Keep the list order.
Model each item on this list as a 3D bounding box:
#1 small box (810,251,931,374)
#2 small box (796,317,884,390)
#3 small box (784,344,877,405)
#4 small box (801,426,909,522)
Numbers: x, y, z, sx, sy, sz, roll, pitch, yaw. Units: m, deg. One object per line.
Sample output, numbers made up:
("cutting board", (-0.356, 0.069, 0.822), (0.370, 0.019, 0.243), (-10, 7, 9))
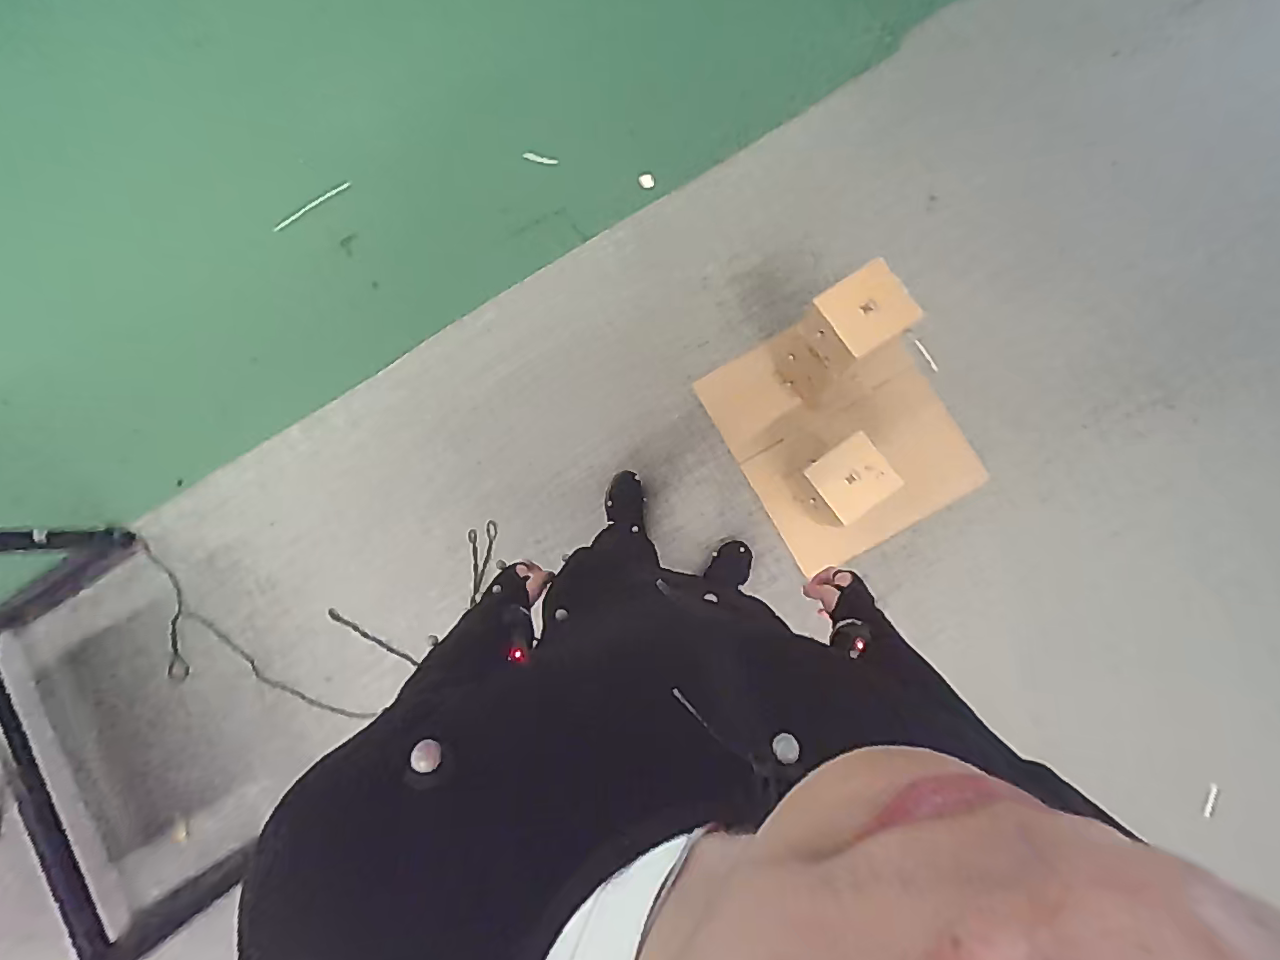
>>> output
("small box", (0.506, -0.367, 1.221), (0.179, 0.176, 0.168), (-33, 82, 2))
("small box", (0.519, -0.356, 1.382), (0.179, 0.176, 0.168), (-33, 82, 2))
("small box", (0.537, -0.341, 1.544), (0.179, 0.176, 0.168), (-37, 82, 2))
("small box", (0.520, -0.007, 1.345), (0.179, 0.176, 0.168), (-36, 83, 2))
